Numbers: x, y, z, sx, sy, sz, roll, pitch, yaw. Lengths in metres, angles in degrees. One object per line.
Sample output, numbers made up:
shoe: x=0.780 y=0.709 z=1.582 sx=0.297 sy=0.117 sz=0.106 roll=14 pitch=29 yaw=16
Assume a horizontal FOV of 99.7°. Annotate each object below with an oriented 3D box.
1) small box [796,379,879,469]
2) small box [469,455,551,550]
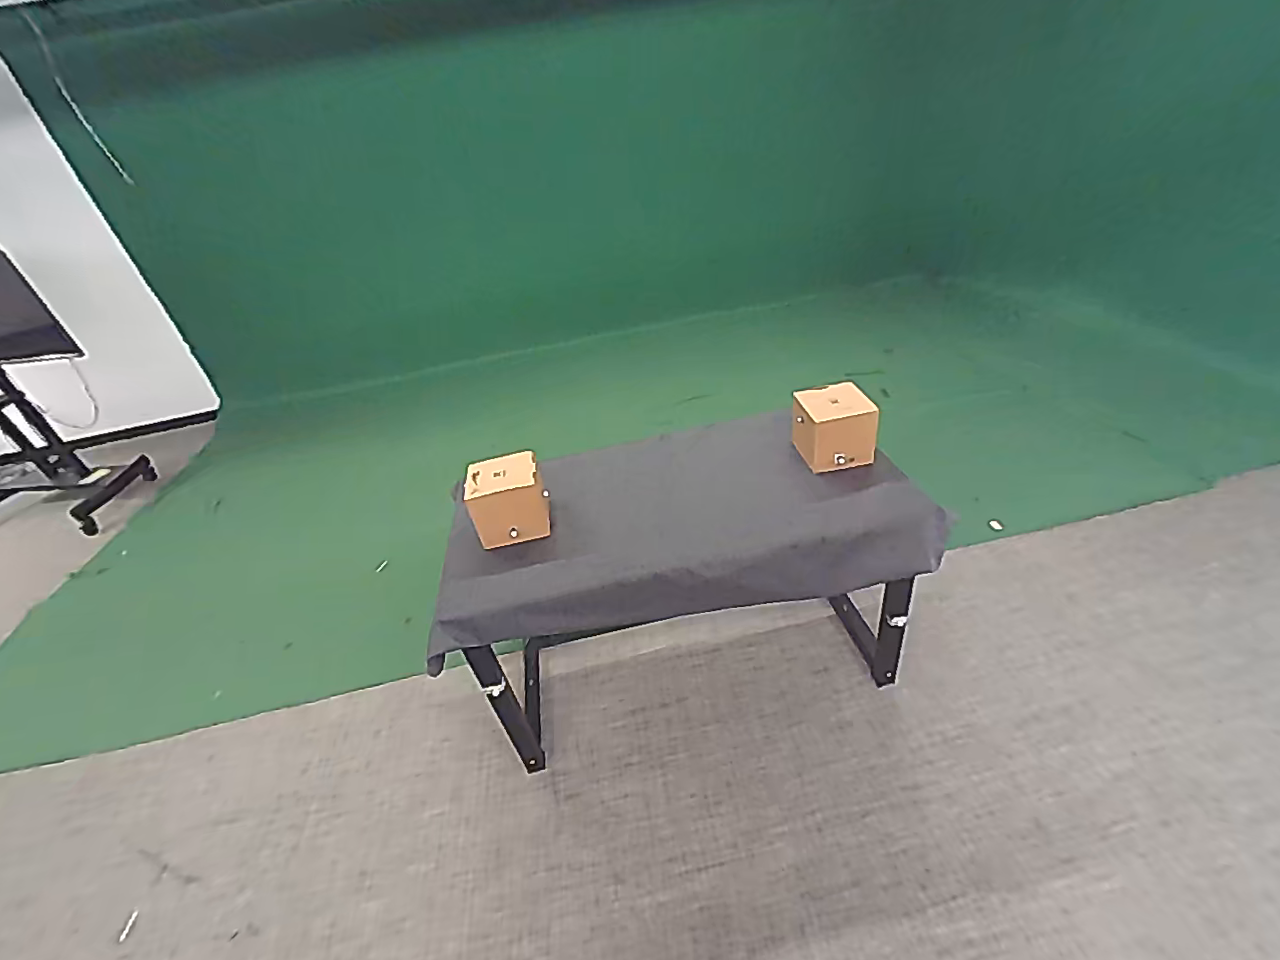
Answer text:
small box: x=0.528 y=-0.152 z=1.466 sx=0.168 sy=0.176 sz=0.179 roll=-11 pitch=35 yaw=3
small box: x=-0.334 y=0.060 z=1.425 sx=0.179 sy=0.176 sz=0.168 roll=-12 pitch=35 yaw=-4
